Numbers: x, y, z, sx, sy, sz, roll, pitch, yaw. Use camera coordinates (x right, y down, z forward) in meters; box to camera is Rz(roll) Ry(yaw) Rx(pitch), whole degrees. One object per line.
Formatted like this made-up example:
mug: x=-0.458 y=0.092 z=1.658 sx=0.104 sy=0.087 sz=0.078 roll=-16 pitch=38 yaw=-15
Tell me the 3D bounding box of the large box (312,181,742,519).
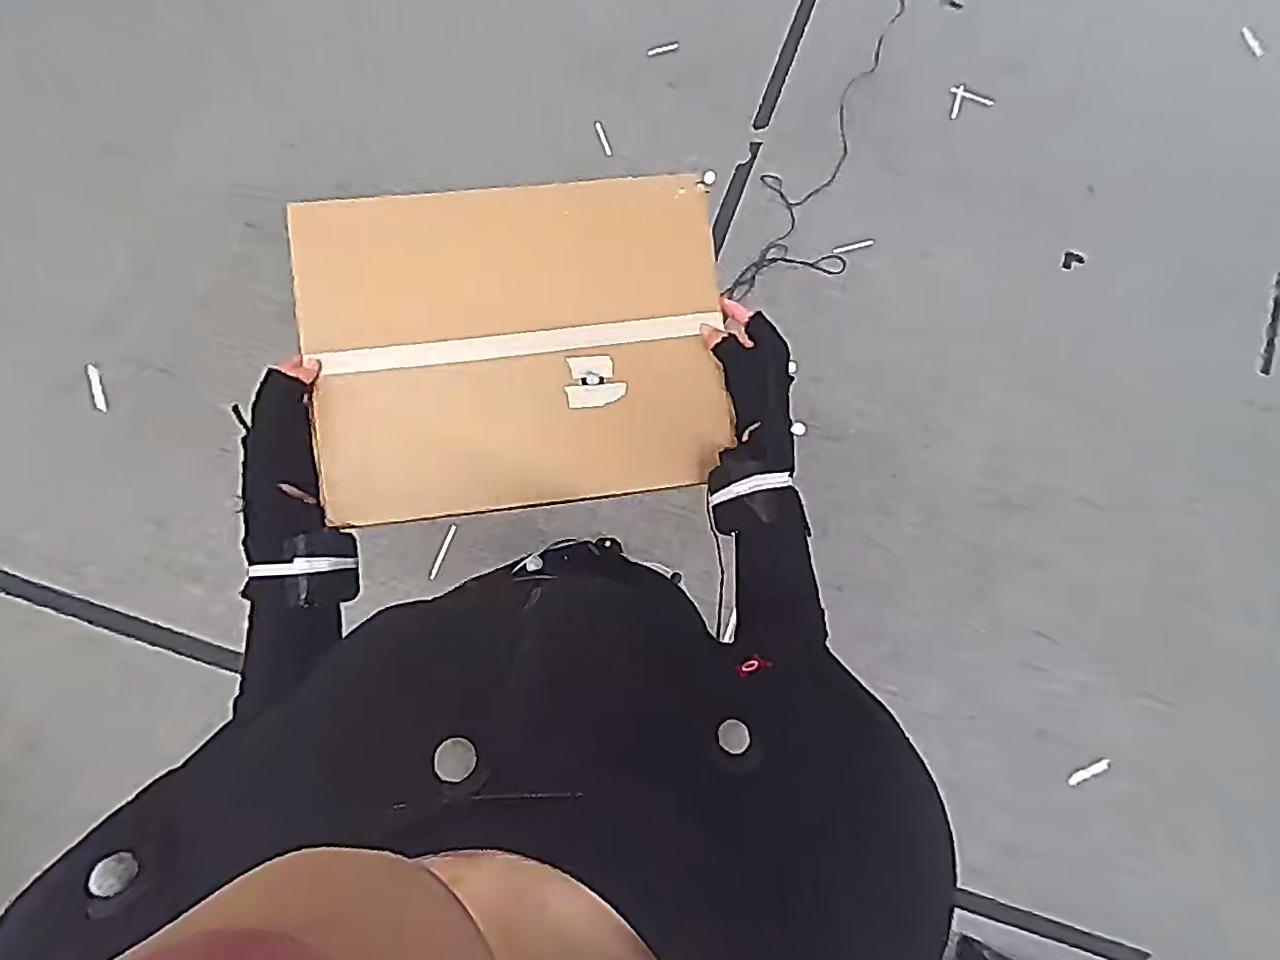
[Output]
large box: x=-0.123 y=-0.133 z=0.689 sx=0.408 sy=0.320 sz=0.320 roll=-6 pitch=90 yaw=-6
